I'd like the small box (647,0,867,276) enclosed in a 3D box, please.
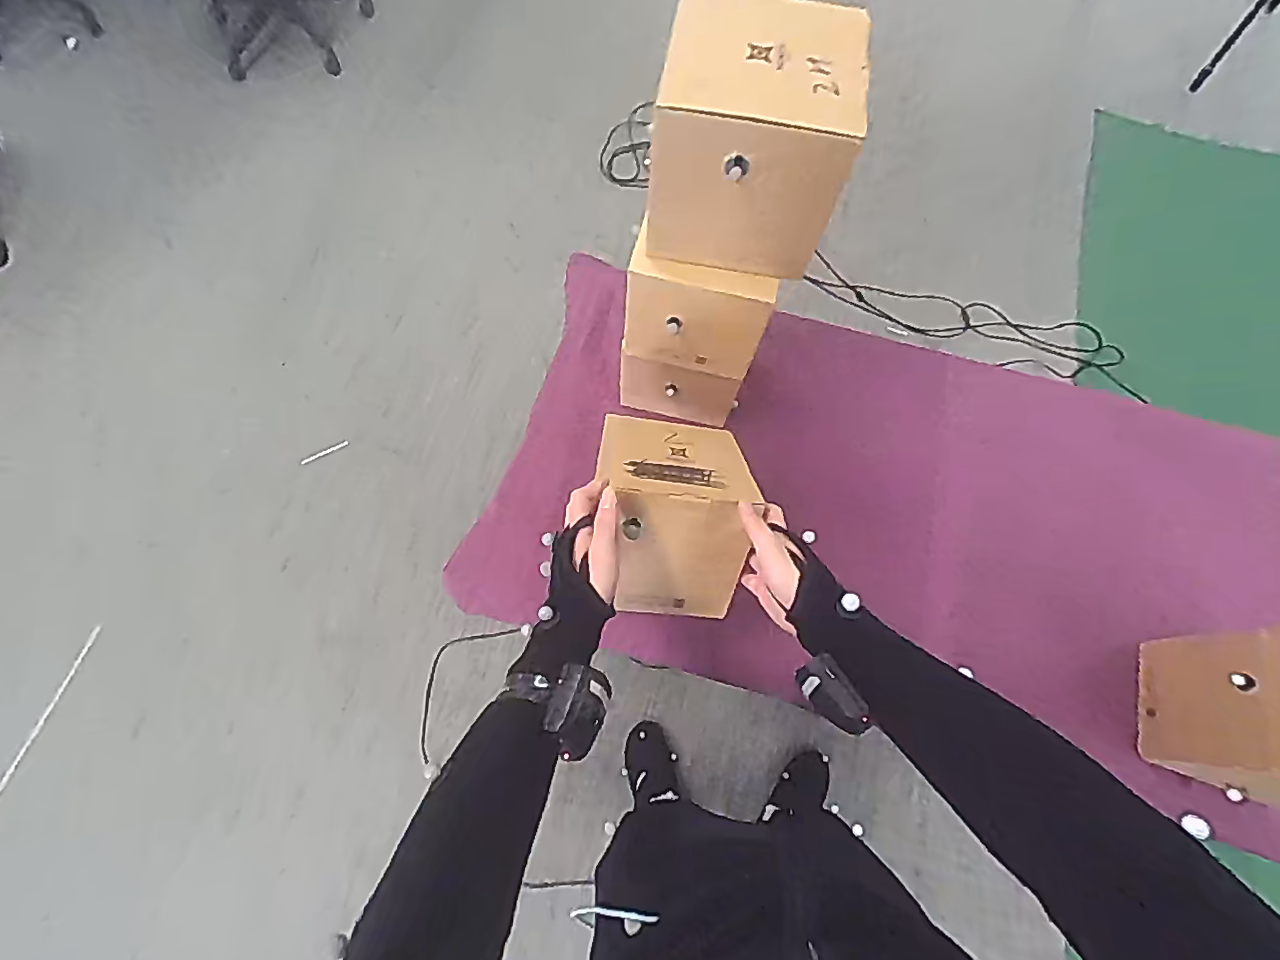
[{"bbox_3d":[0.106,-0.333,0.544,0.179,0.176,0.168,10,70,1],"label":"small box"}]

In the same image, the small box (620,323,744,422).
[{"bbox_3d":[0.071,-0.206,0.844,0.179,0.176,0.168,13,70,3],"label":"small box"}]

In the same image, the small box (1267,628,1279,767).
[{"bbox_3d":[0.792,0.244,0.533,0.168,0.176,0.179,19,70,7],"label":"small box"}]

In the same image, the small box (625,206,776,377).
[{"bbox_3d":[0.081,-0.256,0.690,0.168,0.176,0.179,13,69,2],"label":"small box"}]

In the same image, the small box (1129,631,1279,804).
[{"bbox_3d":[0.783,0.305,0.685,0.179,0.176,0.168,20,69,5],"label":"small box"}]
